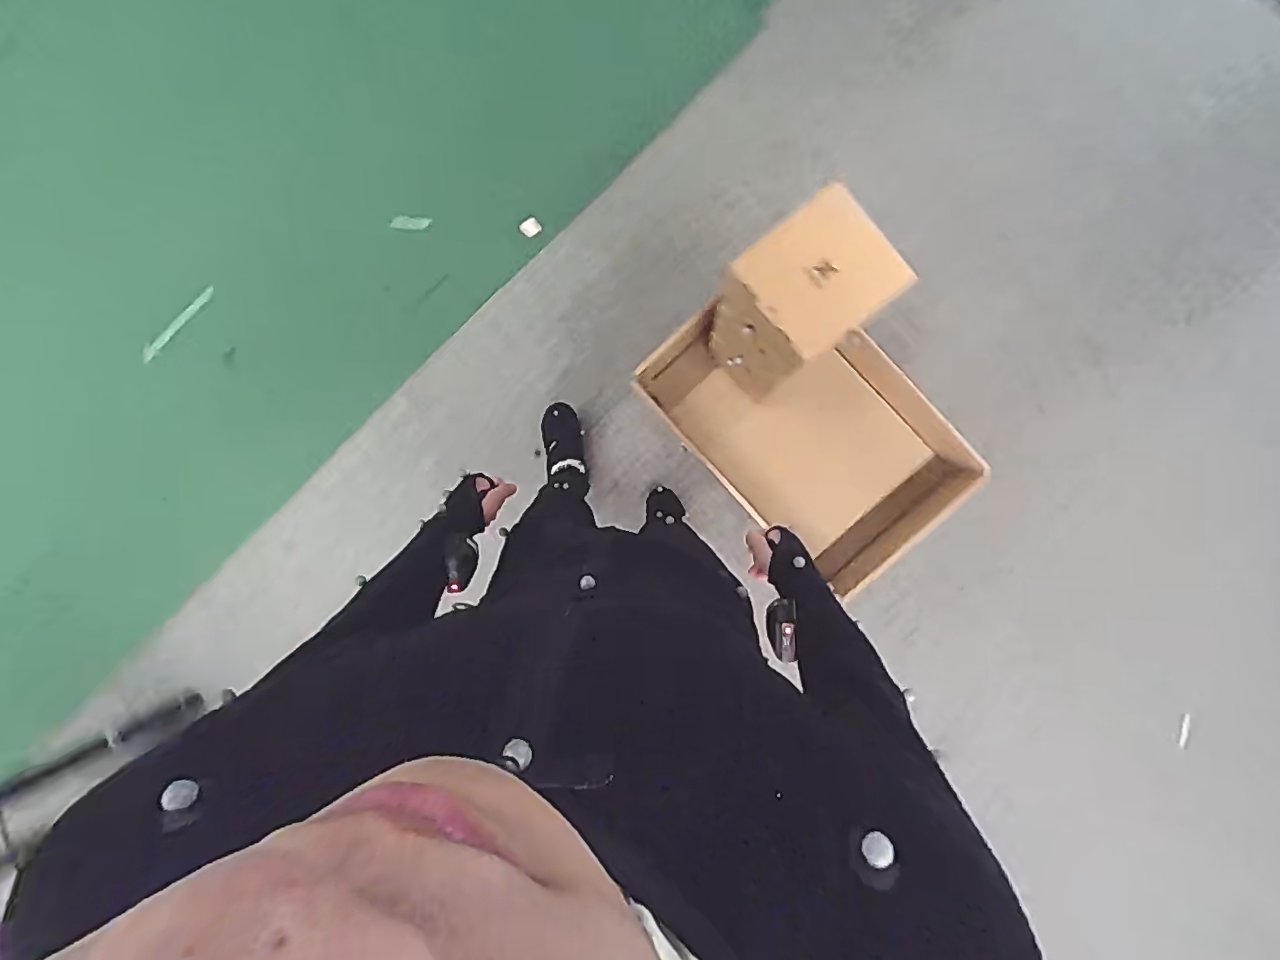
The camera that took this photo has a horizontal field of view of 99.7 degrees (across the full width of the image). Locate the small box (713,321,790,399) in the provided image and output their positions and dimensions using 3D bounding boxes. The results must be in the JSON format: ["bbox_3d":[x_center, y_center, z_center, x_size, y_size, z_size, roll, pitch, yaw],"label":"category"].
[{"bbox_3d":[0.264,-0.287,1.100,0.179,0.176,0.168,-40,89,4],"label":"small box"}]

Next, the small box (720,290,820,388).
[{"bbox_3d":[0.255,-0.282,0.936,0.179,0.176,0.168,-38,88,4],"label":"small box"}]

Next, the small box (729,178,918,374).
[{"bbox_3d":[0.246,-0.276,0.775,0.179,0.176,0.168,-37,89,5],"label":"small box"}]
